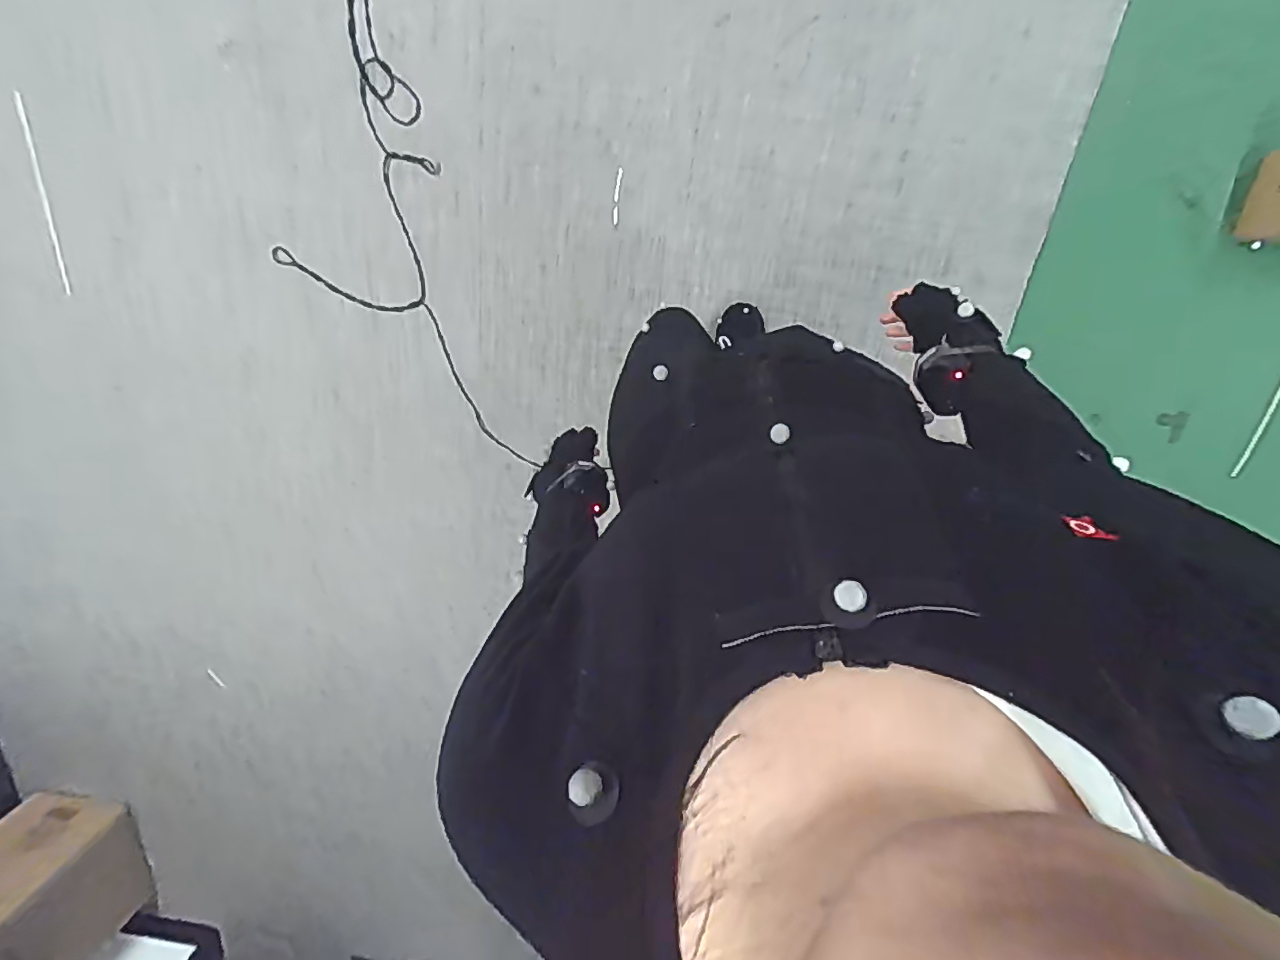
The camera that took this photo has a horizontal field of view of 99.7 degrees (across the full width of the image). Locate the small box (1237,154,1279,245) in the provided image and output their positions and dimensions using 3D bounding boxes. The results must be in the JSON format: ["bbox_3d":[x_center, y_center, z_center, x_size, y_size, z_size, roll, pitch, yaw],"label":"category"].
[{"bbox_3d":[1.394,-0.574,1.094,0.168,0.176,0.179,6,109,4],"label":"small box"}]
